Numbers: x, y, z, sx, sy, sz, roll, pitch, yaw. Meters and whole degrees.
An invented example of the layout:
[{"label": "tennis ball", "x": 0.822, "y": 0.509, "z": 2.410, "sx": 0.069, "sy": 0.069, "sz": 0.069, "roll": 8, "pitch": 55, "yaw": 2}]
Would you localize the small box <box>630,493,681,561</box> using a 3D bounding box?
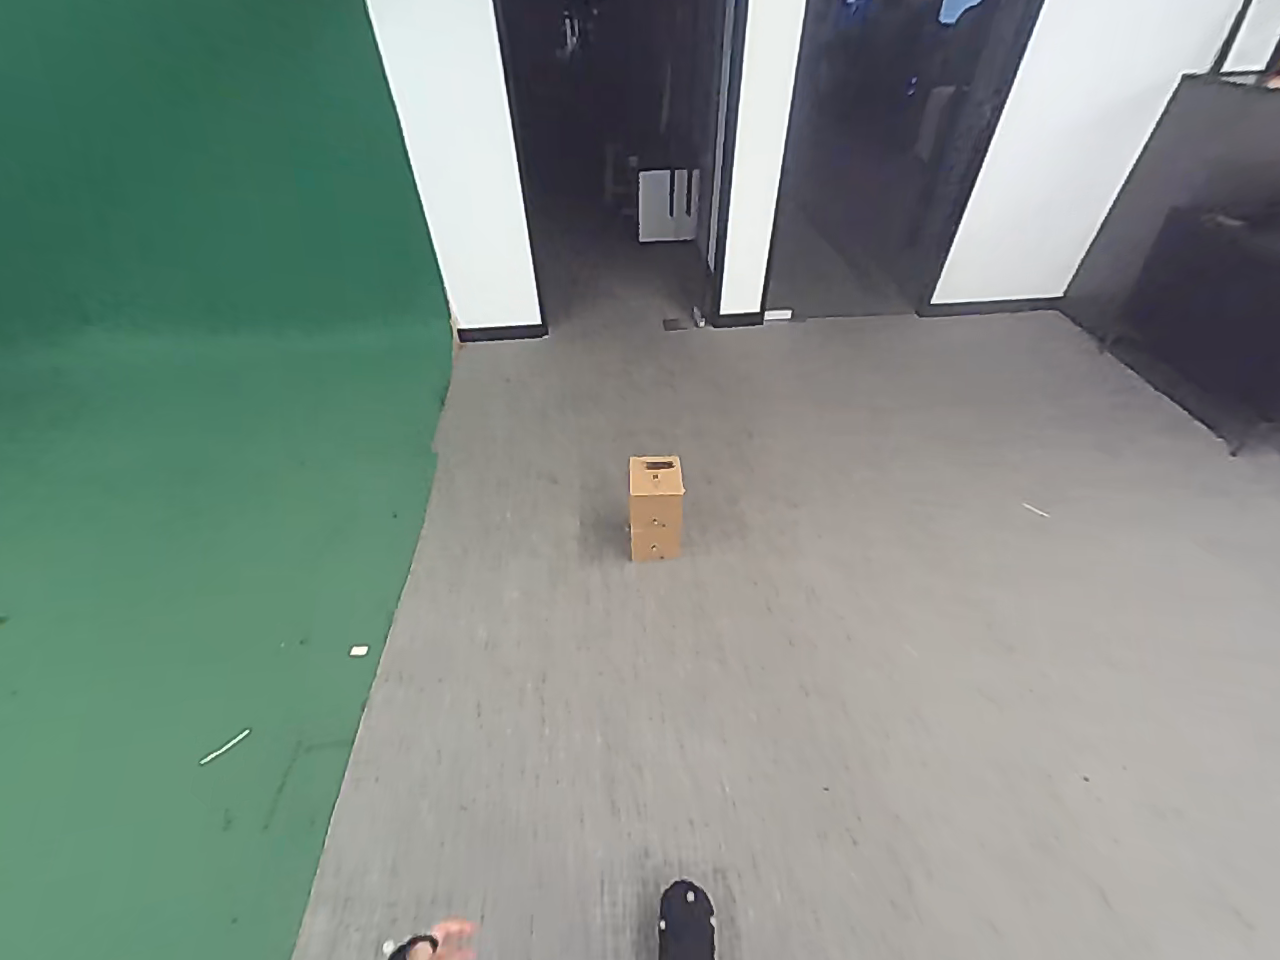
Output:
[{"label": "small box", "x": 0.052, "y": 0.168, "z": 1.867, "sx": 0.168, "sy": 0.176, "sz": 0.179, "roll": -3, "pitch": 45, "yaw": -2}]
